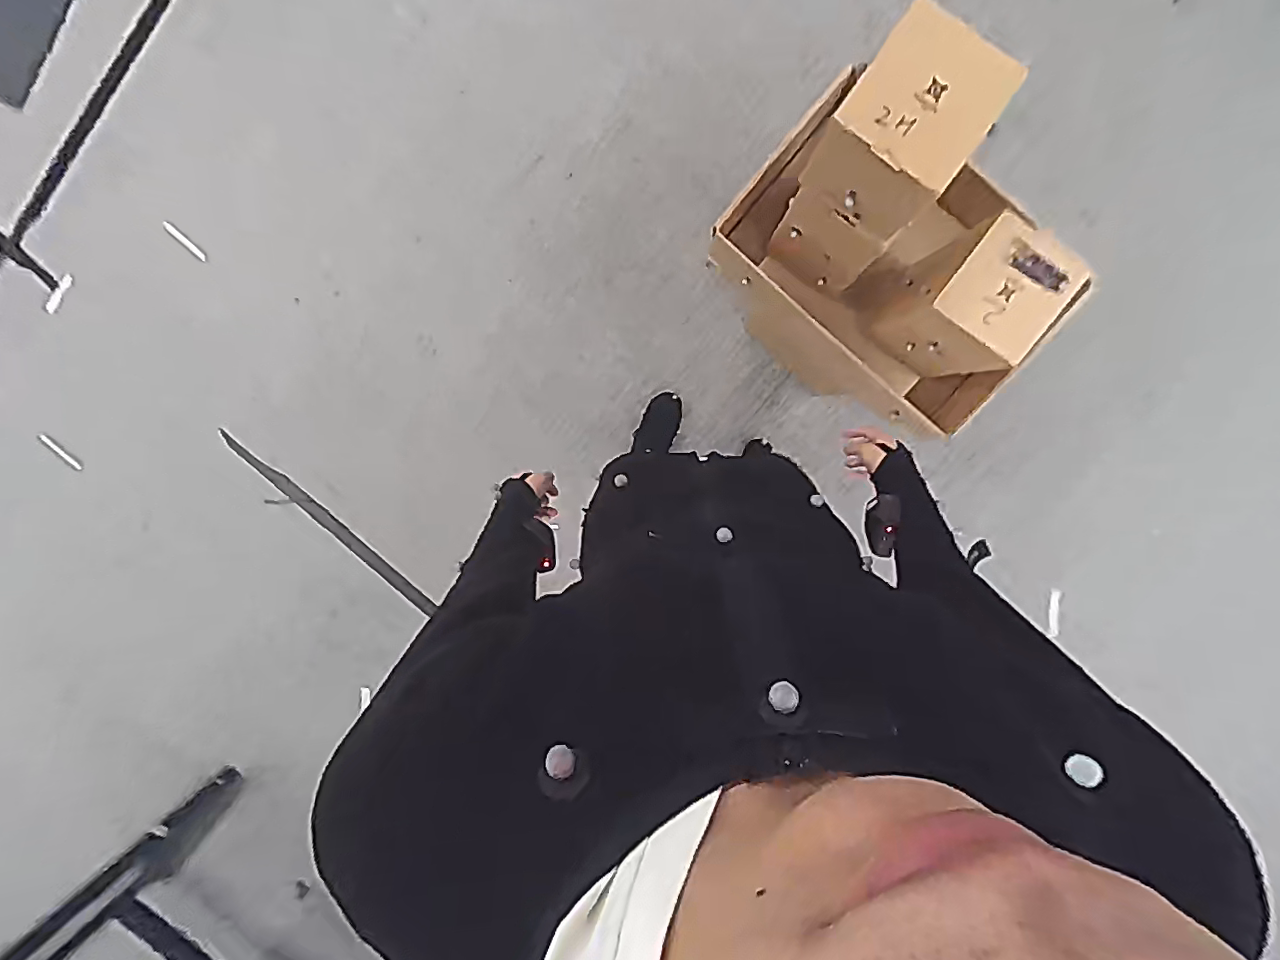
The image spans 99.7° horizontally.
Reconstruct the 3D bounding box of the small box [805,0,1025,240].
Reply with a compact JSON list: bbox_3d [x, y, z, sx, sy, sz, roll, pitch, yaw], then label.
[{"bbox_3d":[0.350,-0.468,0.731,0.168,0.176,0.179,36,96,-1],"label":"small box"}]

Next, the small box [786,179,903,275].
[{"bbox_3d":[0.364,-0.472,0.897,0.168,0.176,0.179,38,96,-2],"label":"small box"}]
